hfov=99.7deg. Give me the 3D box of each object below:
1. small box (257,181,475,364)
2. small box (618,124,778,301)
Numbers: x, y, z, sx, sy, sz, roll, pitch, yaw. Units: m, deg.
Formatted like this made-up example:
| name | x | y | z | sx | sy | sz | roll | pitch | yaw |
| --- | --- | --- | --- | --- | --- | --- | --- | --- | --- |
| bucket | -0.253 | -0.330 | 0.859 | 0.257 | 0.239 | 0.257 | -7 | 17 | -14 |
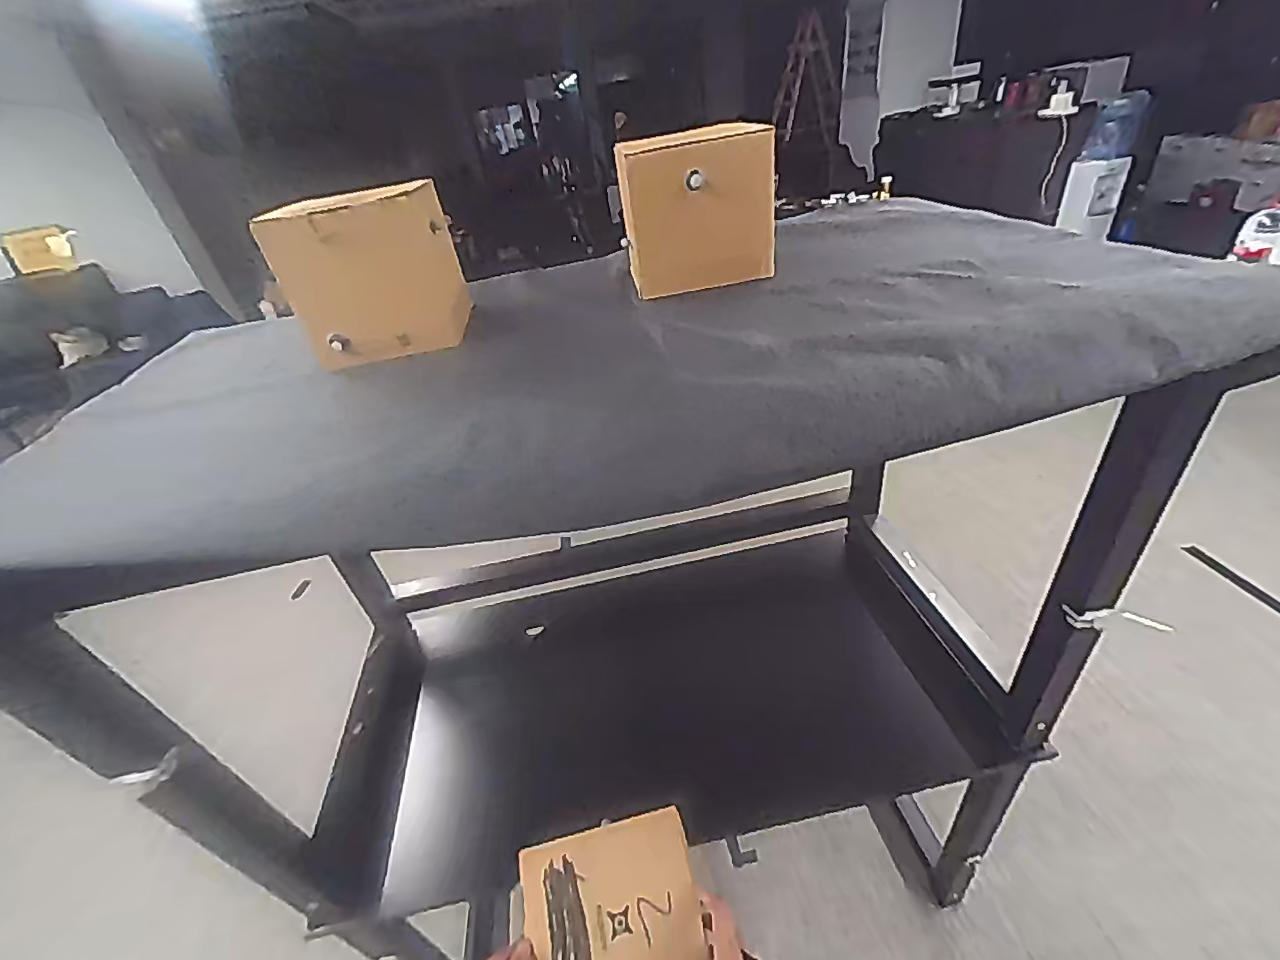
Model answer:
| name | x | y | z | sx | sy | sz | roll | pitch | yaw |
| --- | --- | --- | --- | --- | --- | --- | --- | --- | --- |
| small box | -0.317 | -0.256 | 0.674 | 0.168 | 0.176 | 0.179 | -12 | 34 | -2 |
| small box | 0.074 | -0.353 | 0.713 | 0.179 | 0.176 | 0.168 | -11 | 35 | 1 |
